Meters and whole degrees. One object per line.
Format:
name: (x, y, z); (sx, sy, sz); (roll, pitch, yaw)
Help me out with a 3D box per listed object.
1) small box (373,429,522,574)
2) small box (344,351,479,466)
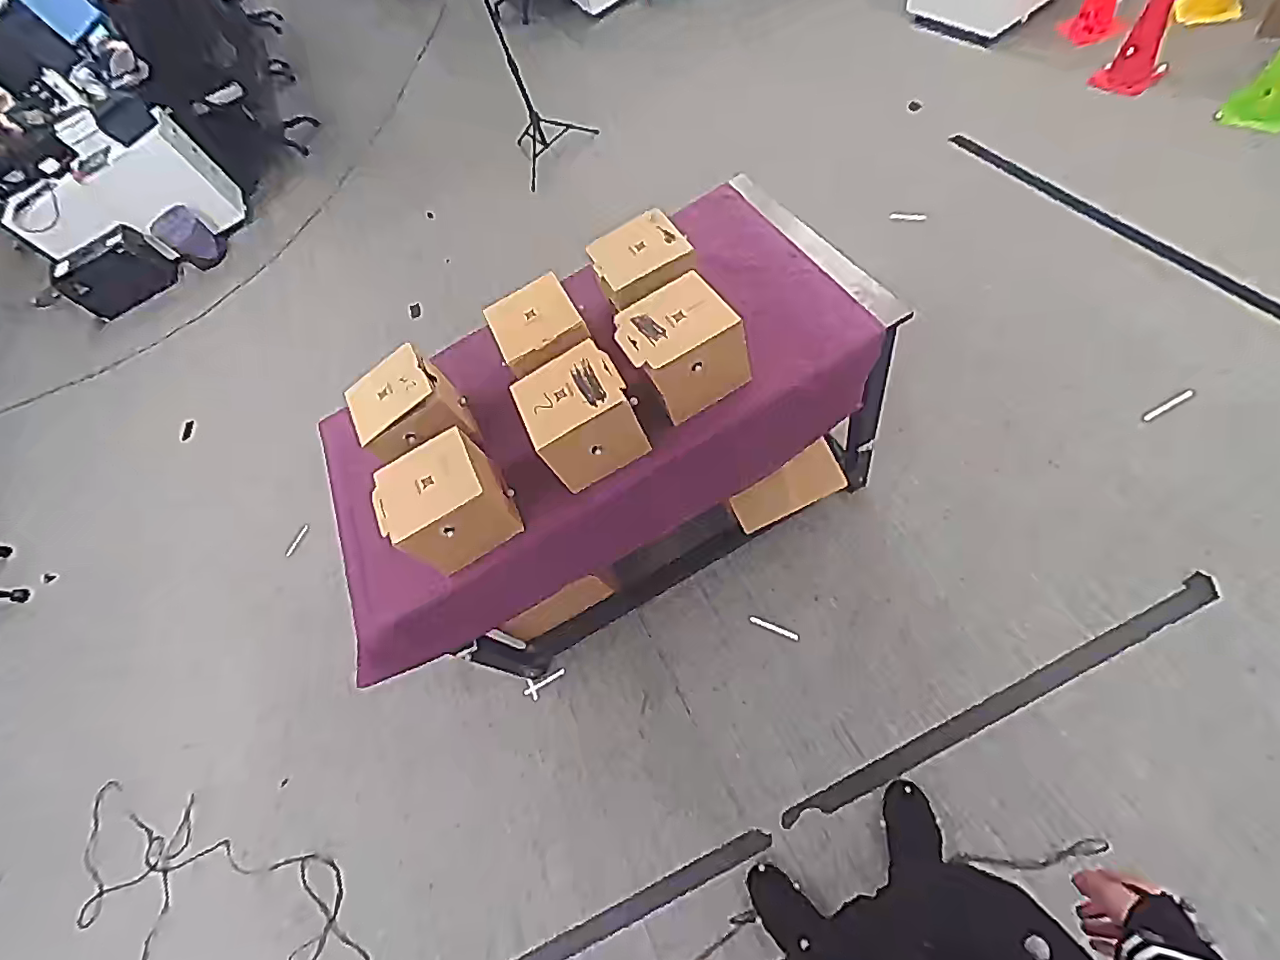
small box: (-0.348, 0.047, 0.991); (0.179, 0.176, 0.168); (-31, 59, -1)
small box: (-0.466, -0.122, 1.116); (0.179, 0.176, 0.168); (-32, 59, -2)
